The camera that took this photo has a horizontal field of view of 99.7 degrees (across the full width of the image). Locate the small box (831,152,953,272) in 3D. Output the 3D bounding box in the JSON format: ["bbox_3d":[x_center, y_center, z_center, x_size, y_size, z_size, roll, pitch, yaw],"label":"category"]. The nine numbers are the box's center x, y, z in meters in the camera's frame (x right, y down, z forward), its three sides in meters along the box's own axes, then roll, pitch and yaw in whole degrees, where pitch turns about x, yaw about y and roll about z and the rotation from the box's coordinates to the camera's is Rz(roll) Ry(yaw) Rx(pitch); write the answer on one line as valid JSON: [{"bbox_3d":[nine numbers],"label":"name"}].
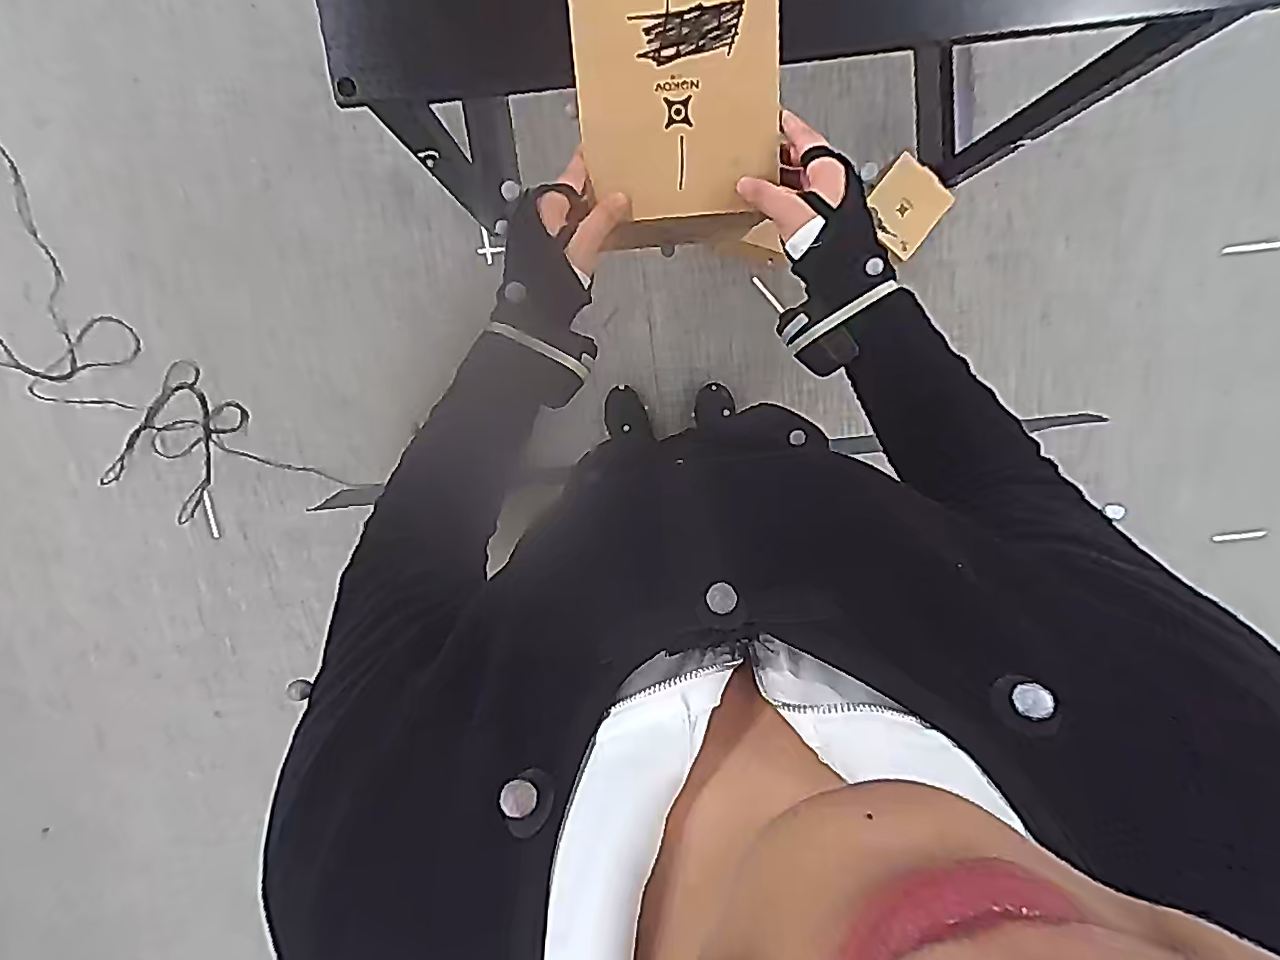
[{"bbox_3d":[0.598,-0.638,1.311,0.168,0.176,0.179,37,98,-7],"label":"small box"}]

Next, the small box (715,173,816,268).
[{"bbox_3d":[0.295,-0.627,1.309,0.179,0.176,0.168,14,100,-3],"label":"small box"}]

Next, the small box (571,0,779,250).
[{"bbox_3d":[0.028,-0.329,0.514,0.168,0.176,0.179,-5,106,0],"label":"small box"}]
